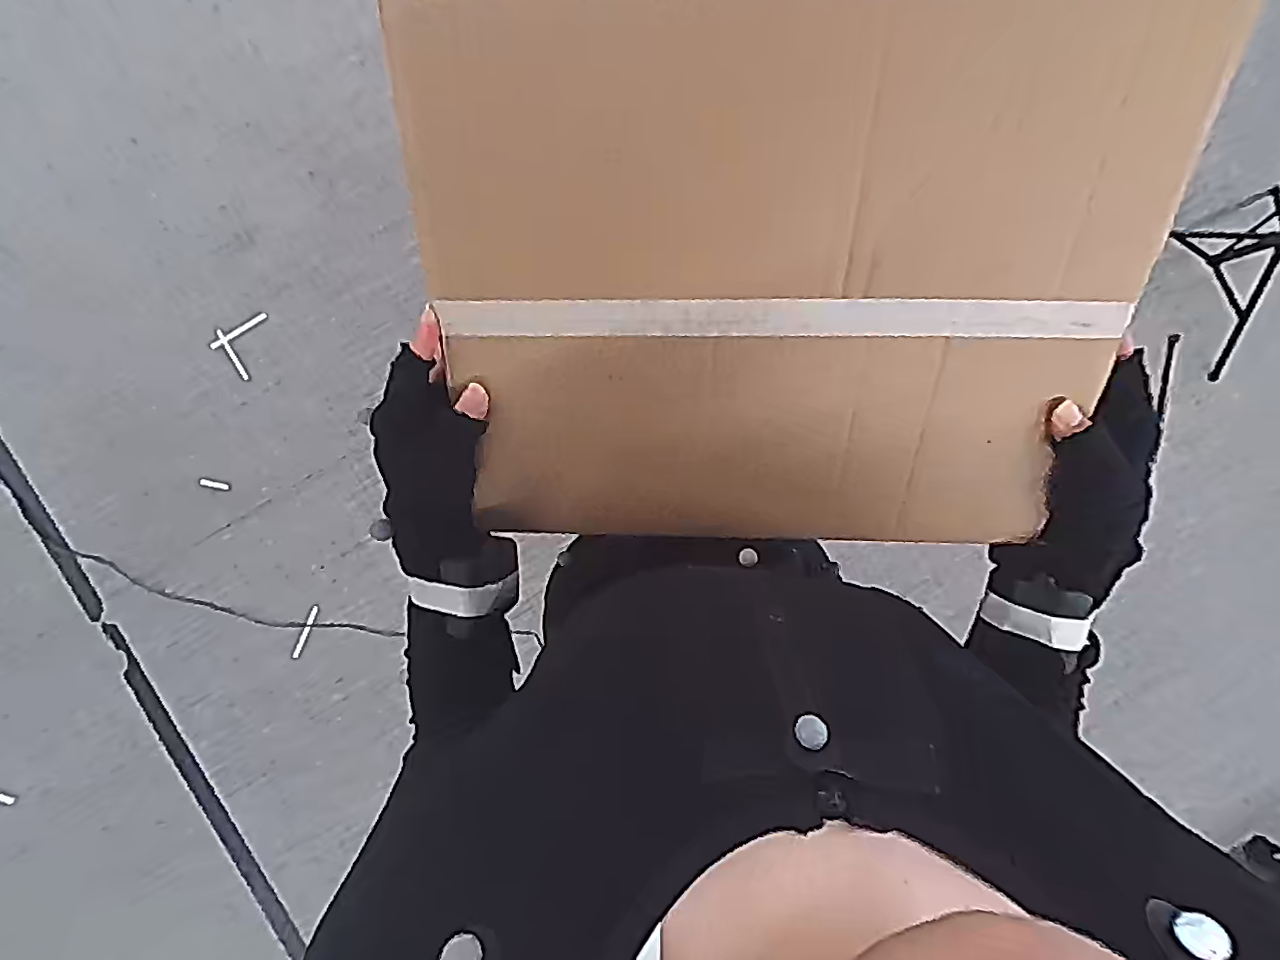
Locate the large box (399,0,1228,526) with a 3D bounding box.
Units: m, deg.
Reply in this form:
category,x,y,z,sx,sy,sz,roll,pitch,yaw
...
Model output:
category,x,y,z,sx,sy,sz,roll,pitch,yaw
large box,0.082,-0.173,0.458,0.408,0.320,0.320,1,120,2
